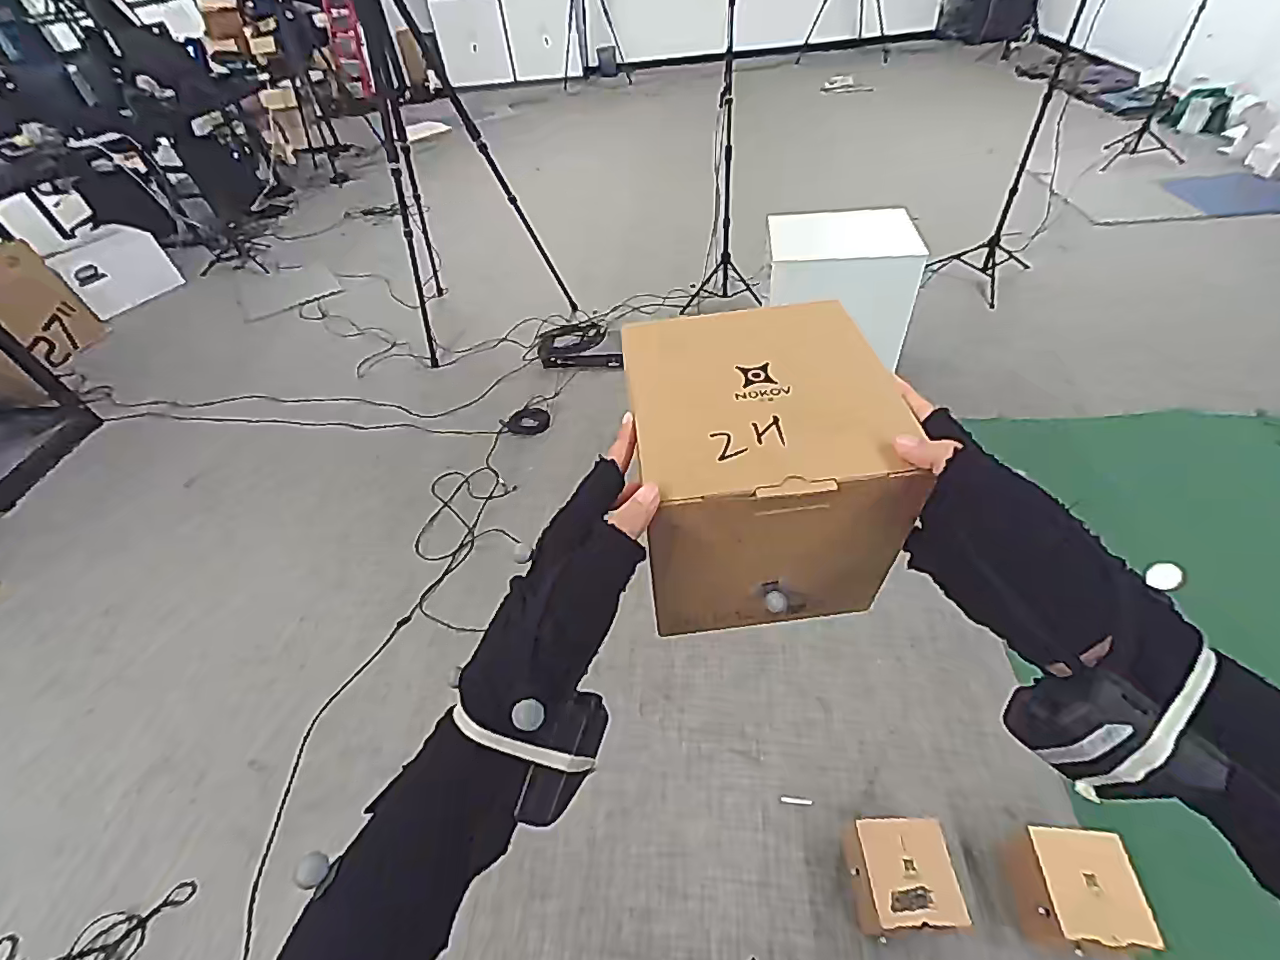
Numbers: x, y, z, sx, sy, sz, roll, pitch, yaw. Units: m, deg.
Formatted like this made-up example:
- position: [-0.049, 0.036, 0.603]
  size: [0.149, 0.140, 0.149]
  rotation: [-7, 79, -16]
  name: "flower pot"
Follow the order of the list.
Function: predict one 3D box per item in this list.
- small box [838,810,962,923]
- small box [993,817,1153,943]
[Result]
- position: [0.523, 0.800, 1.116]
  size: [0.168, 0.176, 0.179]
  rotation: [-3, 46, 3]
  name: "small box"
- position: [0.845, 0.801, 1.082]
  size: [0.168, 0.176, 0.179]
  rotation: [0, 48, 7]
  name: "small box"
